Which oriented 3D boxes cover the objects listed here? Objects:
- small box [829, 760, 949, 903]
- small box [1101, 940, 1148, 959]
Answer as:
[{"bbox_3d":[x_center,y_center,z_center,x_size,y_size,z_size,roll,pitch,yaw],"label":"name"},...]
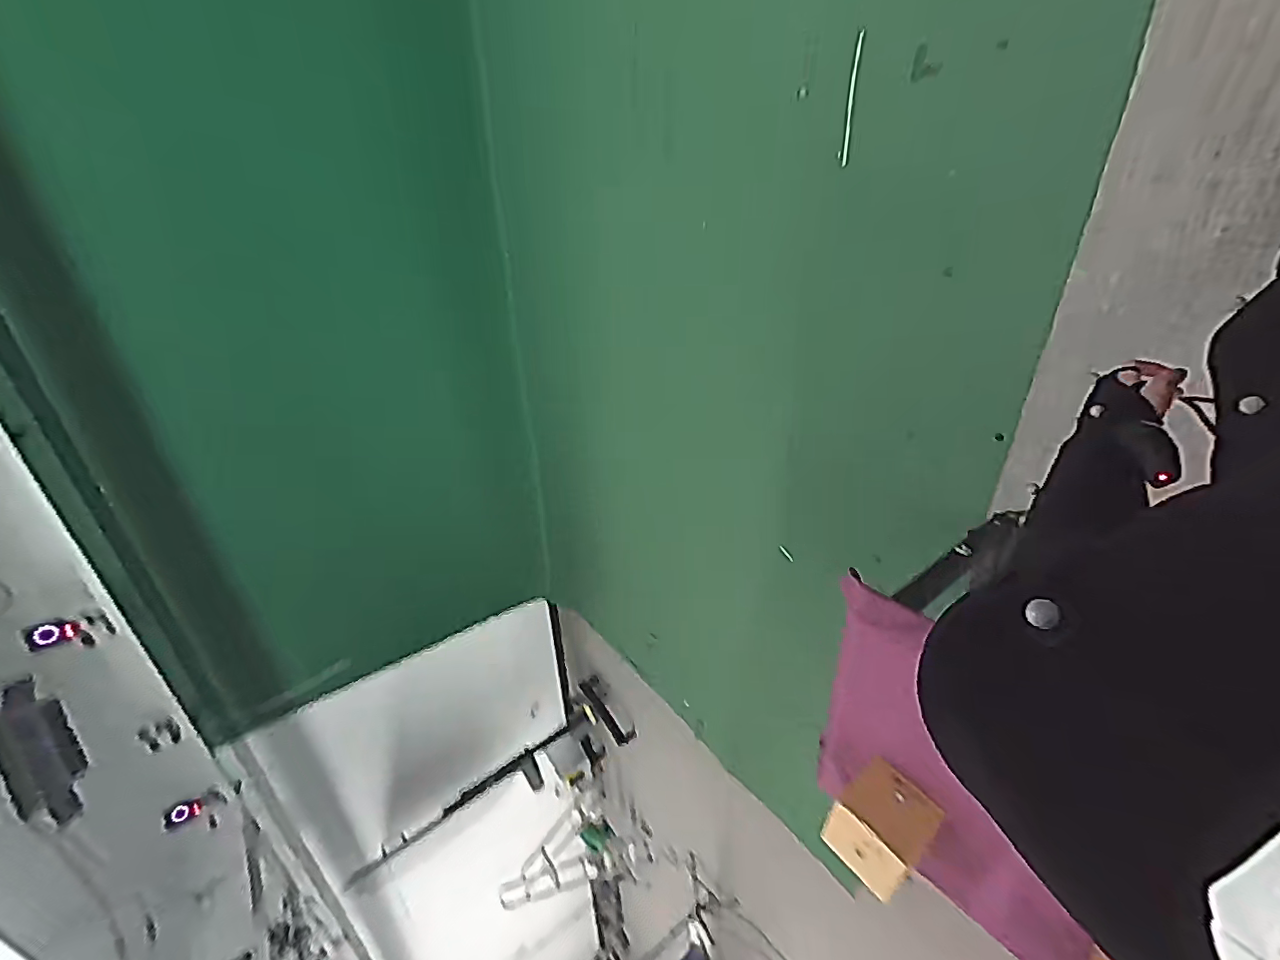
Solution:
[{"bbox_3d":[0.556,0.779,1.212,0.168,0.176,0.179,34,134,41],"label":"small box"},{"bbox_3d":[0.837,0.936,0.894,0.168,0.176,0.179,24,126,49],"label":"small box"}]
